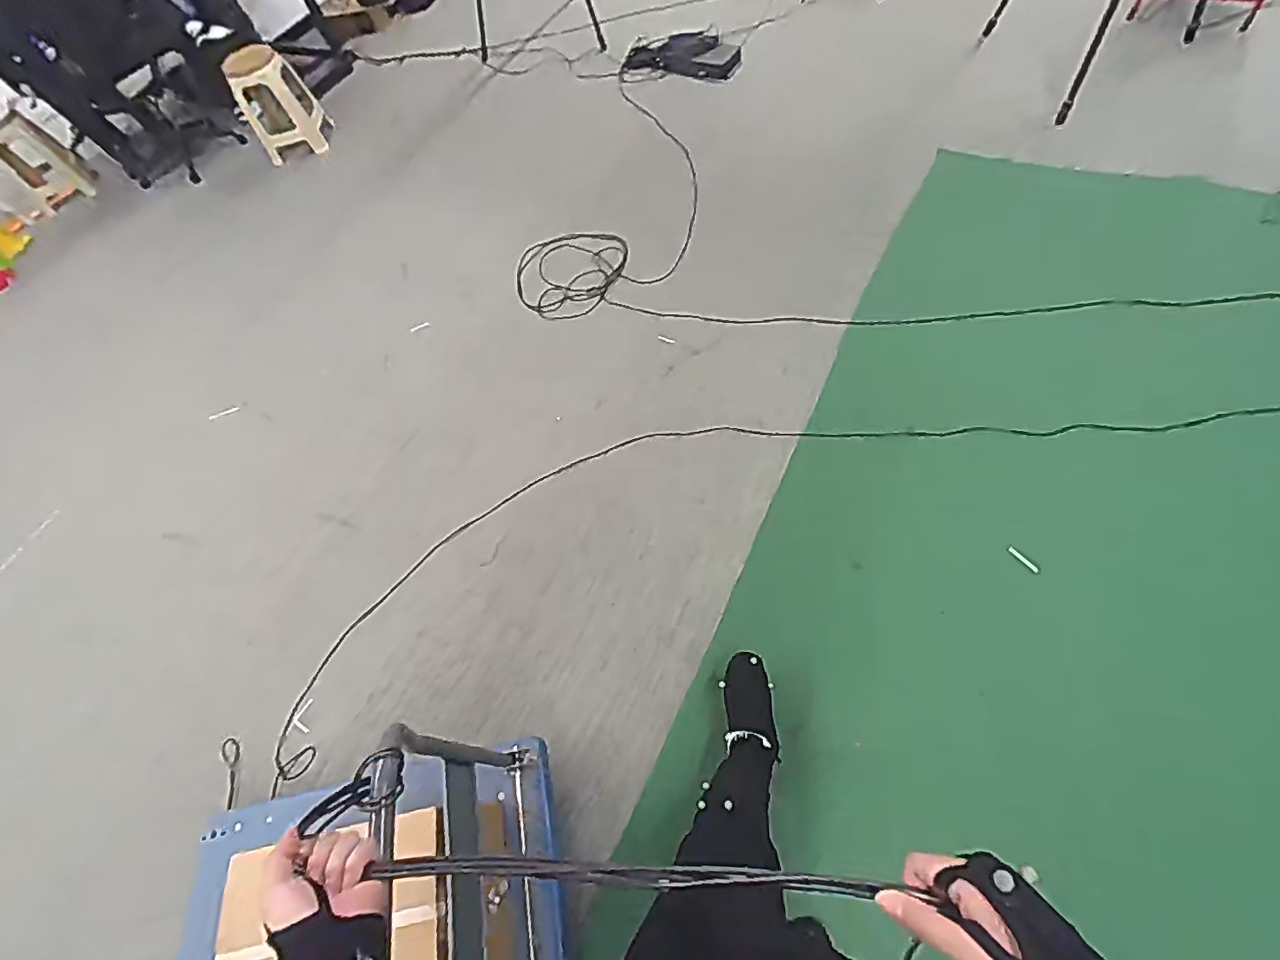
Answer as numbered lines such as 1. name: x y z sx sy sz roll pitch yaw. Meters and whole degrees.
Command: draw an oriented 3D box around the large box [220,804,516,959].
1. large box: -0.492 0.846 1.032 0.408 0.320 0.320 -16 59 3
